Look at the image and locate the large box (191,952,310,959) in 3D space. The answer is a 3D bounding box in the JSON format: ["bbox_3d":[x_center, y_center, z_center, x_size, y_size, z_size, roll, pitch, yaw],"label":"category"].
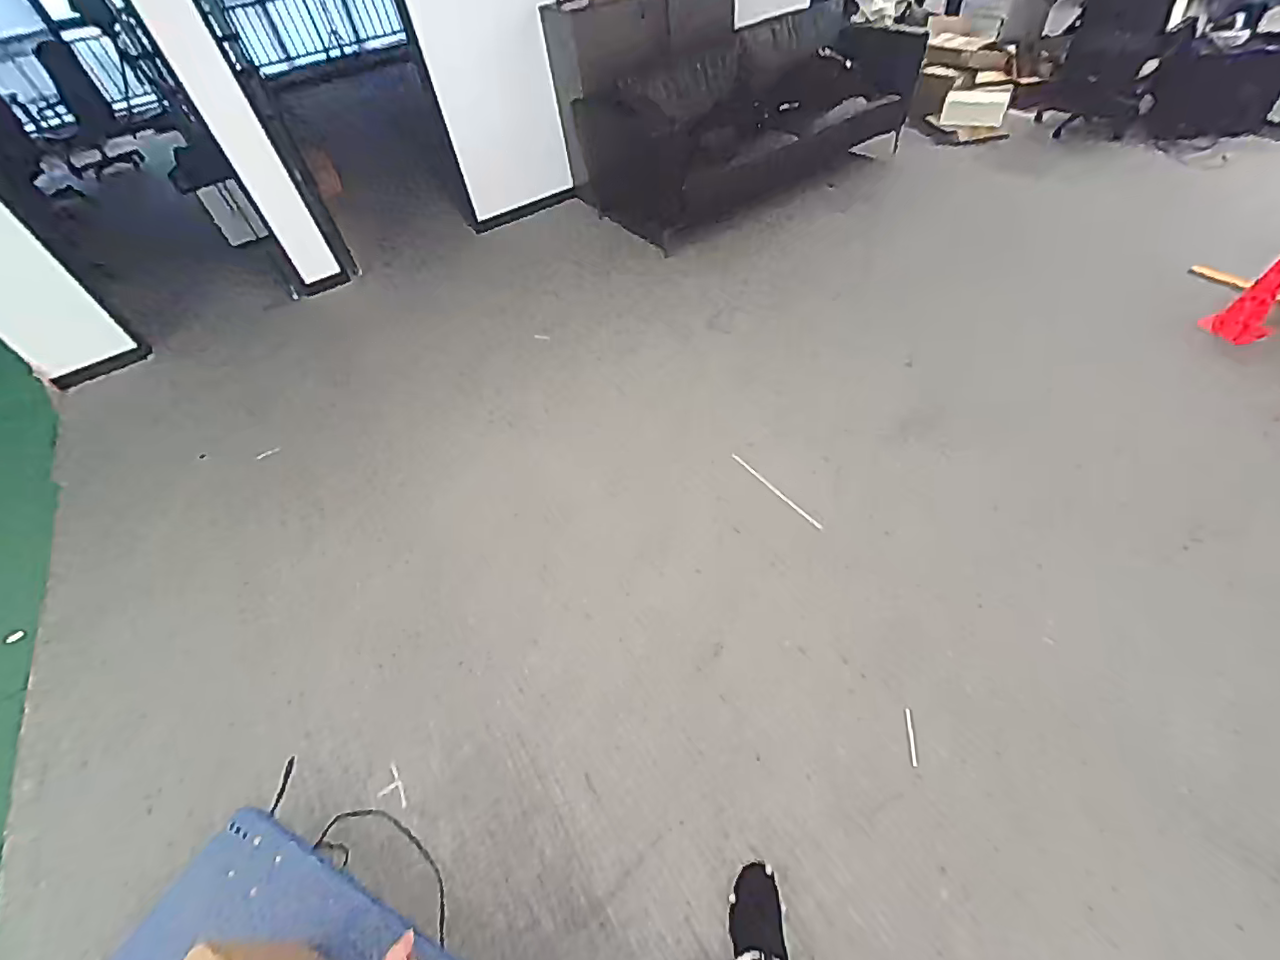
[{"bbox_3d":[-0.614,1.047,0.864,0.408,0.320,0.320,16,52,23],"label":"large box"}]
